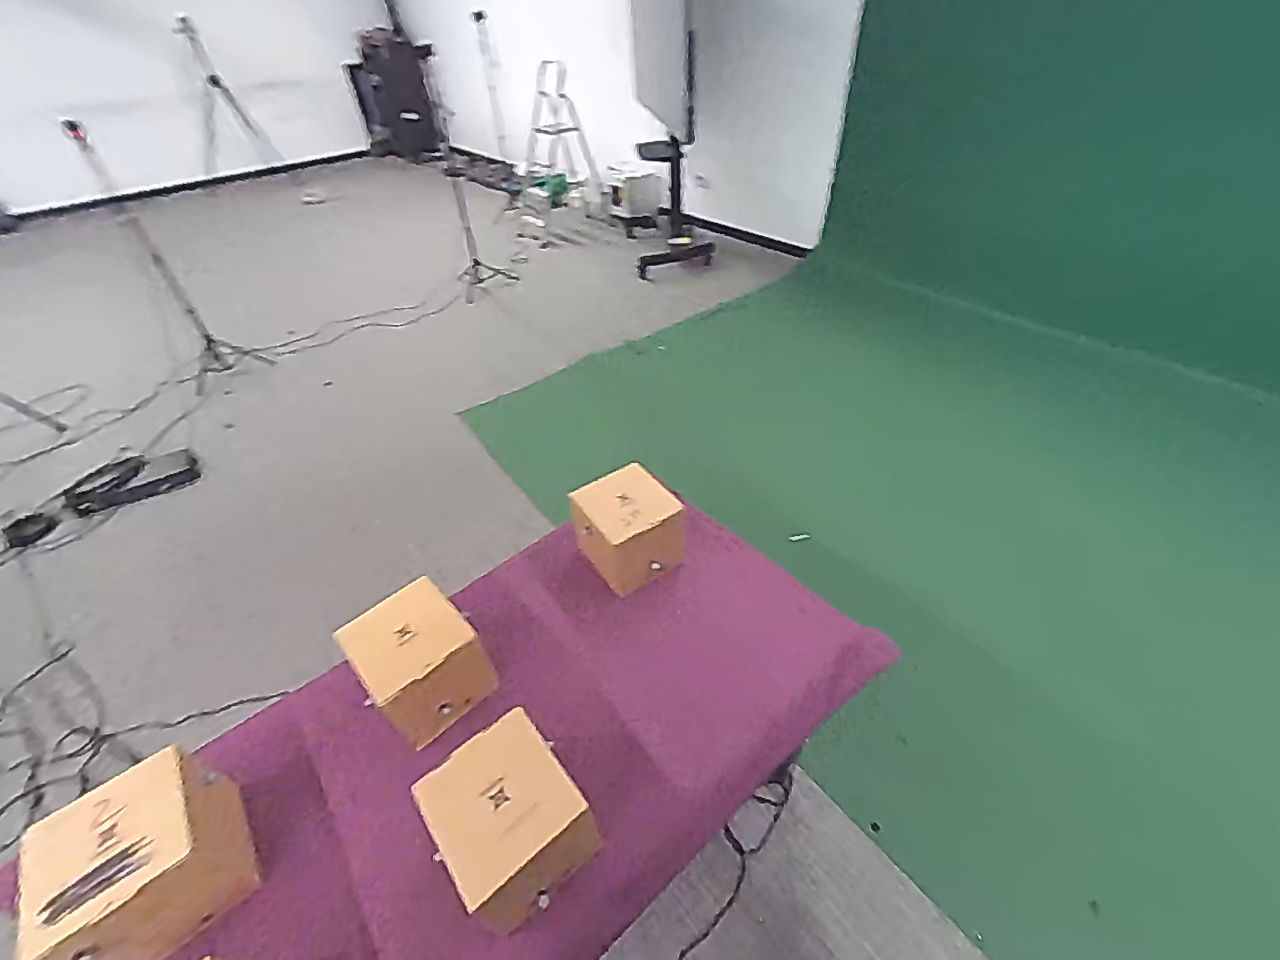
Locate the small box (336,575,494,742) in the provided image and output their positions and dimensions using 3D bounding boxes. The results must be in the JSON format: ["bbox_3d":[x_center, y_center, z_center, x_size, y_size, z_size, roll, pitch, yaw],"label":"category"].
[{"bbox_3d":[-0.375,0.304,0.922,0.179,0.176,0.168,33,54,32],"label":"small box"}]

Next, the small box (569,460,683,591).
[{"bbox_3d":[-0.028,0.095,1.122,0.168,0.176,0.179,-27,48,-22],"label":"small box"}]

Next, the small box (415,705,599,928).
[{"bbox_3d":[-0.175,0.458,0.739,0.168,0.176,0.179,-31,49,-26],"label":"small box"}]
